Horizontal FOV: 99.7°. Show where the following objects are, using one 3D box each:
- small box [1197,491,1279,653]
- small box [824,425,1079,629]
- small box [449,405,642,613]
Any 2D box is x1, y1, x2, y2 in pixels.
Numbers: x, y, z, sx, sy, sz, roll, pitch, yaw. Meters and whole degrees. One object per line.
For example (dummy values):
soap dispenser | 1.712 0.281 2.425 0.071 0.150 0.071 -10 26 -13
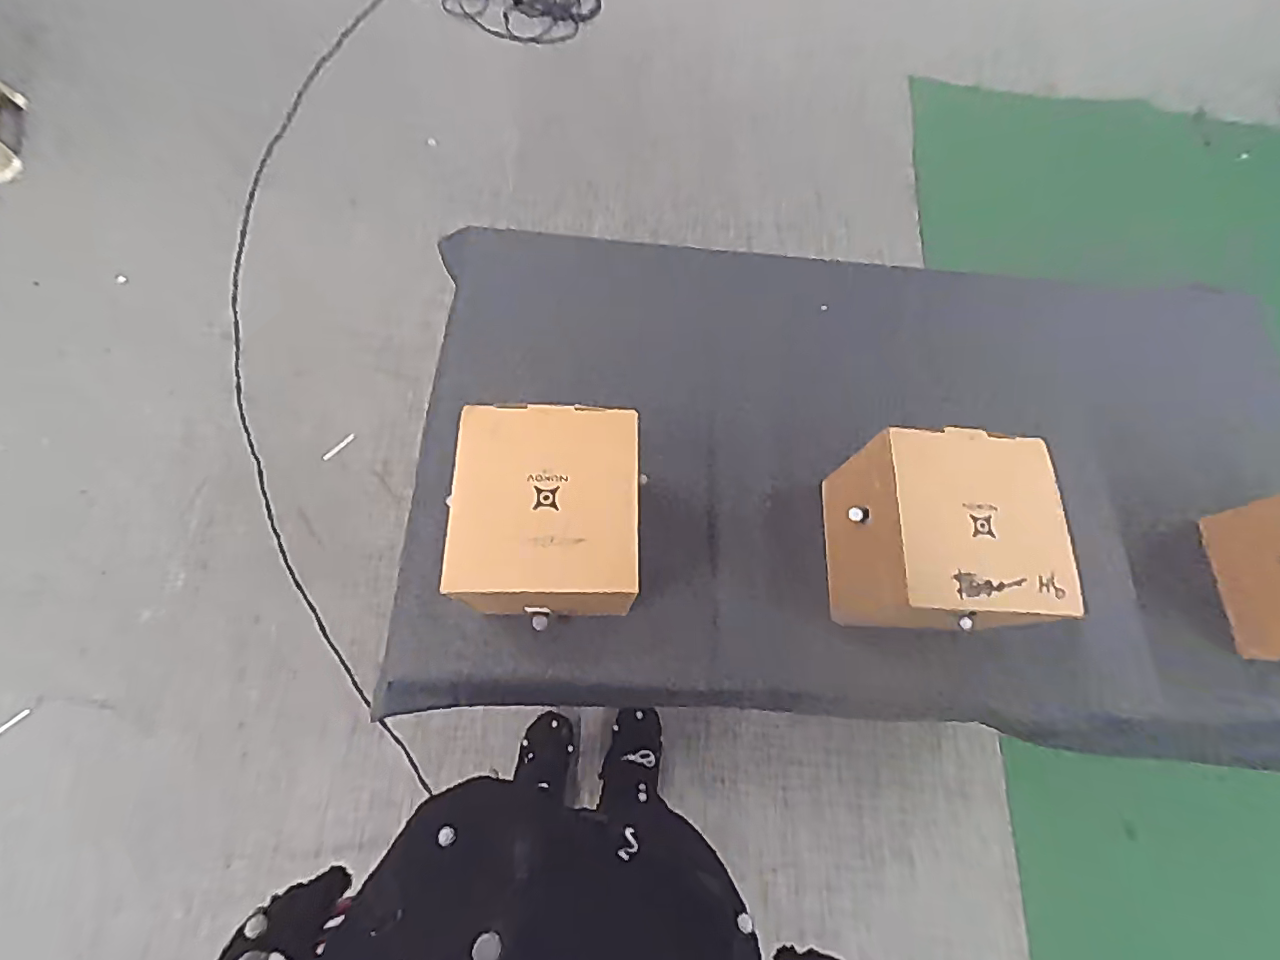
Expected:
small box | 0.801 0.105 0.603 0.168 0.176 0.179 4 69 -1
small box | 0.312 0.060 0.587 0.168 0.176 0.179 4 69 -3
small box | -0.087 0.039 0.562 0.168 0.176 0.179 0 70 -4
